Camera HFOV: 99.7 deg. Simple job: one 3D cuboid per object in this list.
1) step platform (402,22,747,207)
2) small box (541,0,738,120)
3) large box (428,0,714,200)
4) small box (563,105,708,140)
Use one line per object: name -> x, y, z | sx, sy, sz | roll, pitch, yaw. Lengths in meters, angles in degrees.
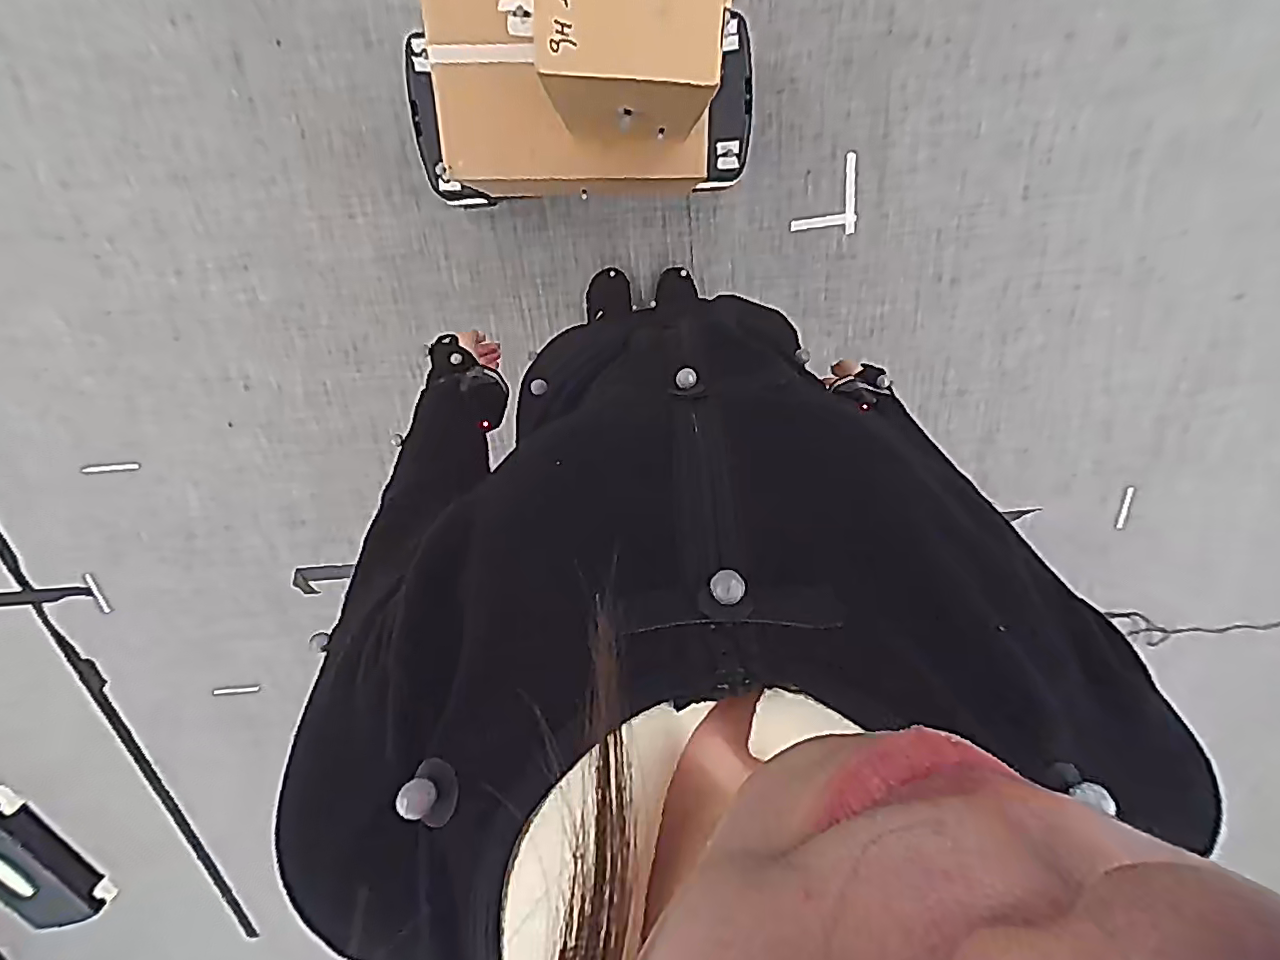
step platform -> -0.124, -0.742, 1.126 | 0.684, 0.204, 0.286 | 1, 113, -1
small box -> -0.002, -0.477, 0.539 | 0.179, 0.176, 0.168 | 2, 112, -3
large box -> -0.092, -0.656, 0.905 | 0.408, 0.320, 0.320 | -1, 112, 0
small box -> -0.005, -0.545, 0.688 | 0.179, 0.176, 0.168 | 1, 113, -1
